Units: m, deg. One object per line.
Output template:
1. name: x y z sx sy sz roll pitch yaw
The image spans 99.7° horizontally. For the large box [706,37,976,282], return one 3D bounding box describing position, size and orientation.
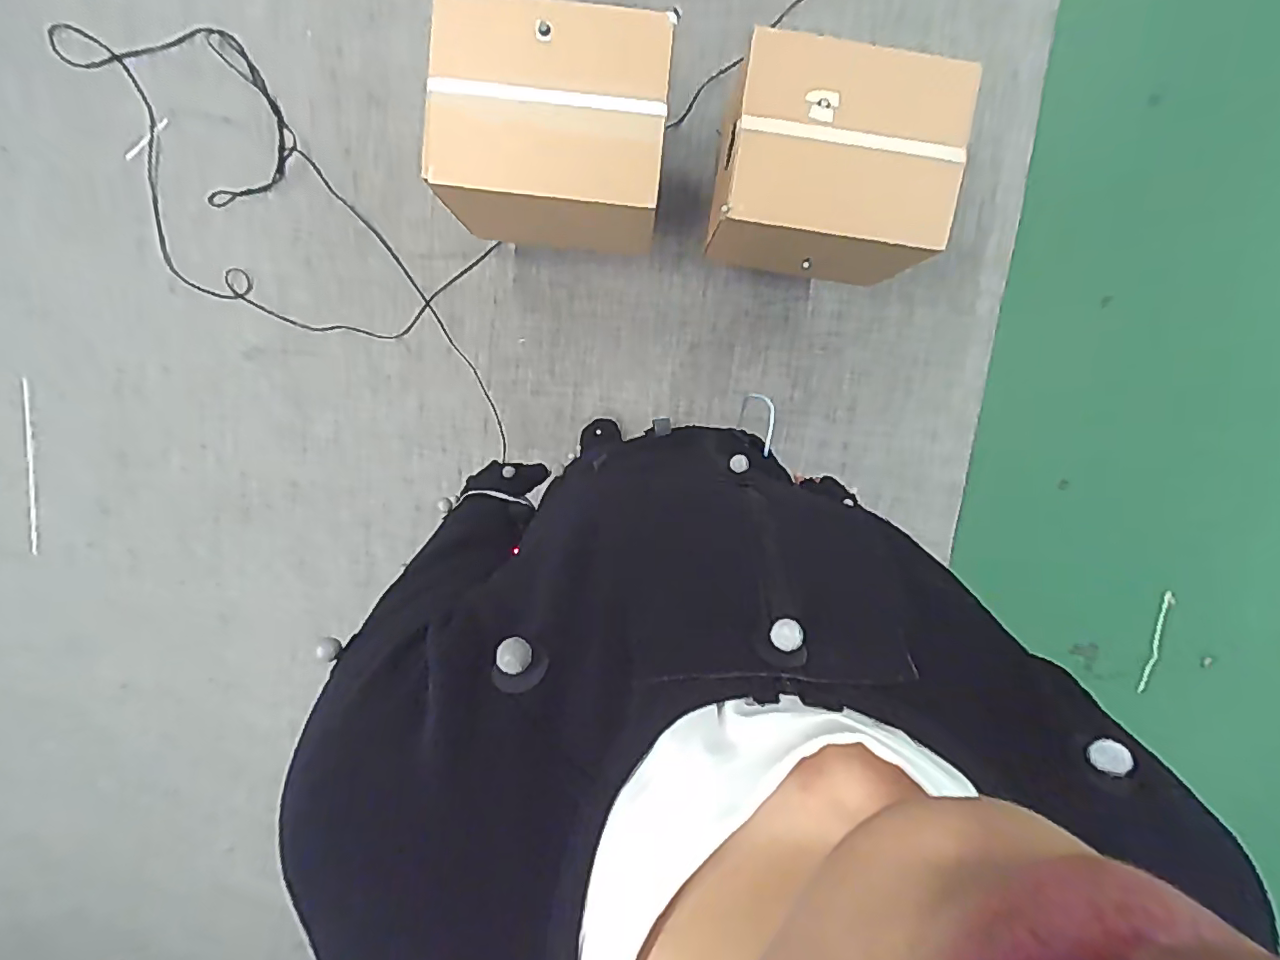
1. large box: 0.373 -0.614 1.104 0.408 0.320 0.320 8 97 -2
